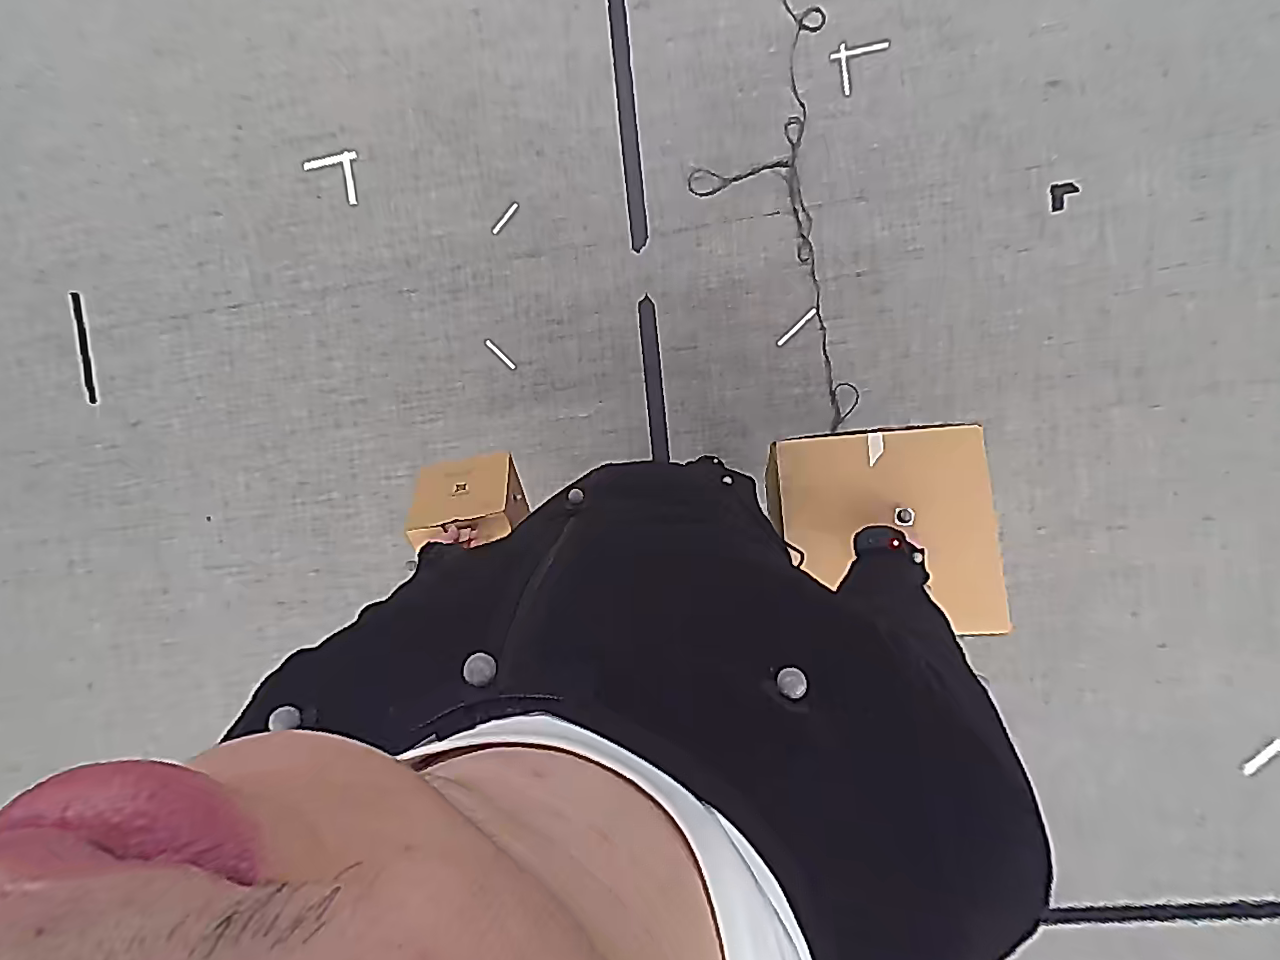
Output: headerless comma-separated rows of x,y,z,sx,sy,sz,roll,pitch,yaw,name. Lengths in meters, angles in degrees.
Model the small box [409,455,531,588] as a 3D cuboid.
-0.301,0.082,0.998,0.168,0.179,0.176,-11,127,-3,small box
